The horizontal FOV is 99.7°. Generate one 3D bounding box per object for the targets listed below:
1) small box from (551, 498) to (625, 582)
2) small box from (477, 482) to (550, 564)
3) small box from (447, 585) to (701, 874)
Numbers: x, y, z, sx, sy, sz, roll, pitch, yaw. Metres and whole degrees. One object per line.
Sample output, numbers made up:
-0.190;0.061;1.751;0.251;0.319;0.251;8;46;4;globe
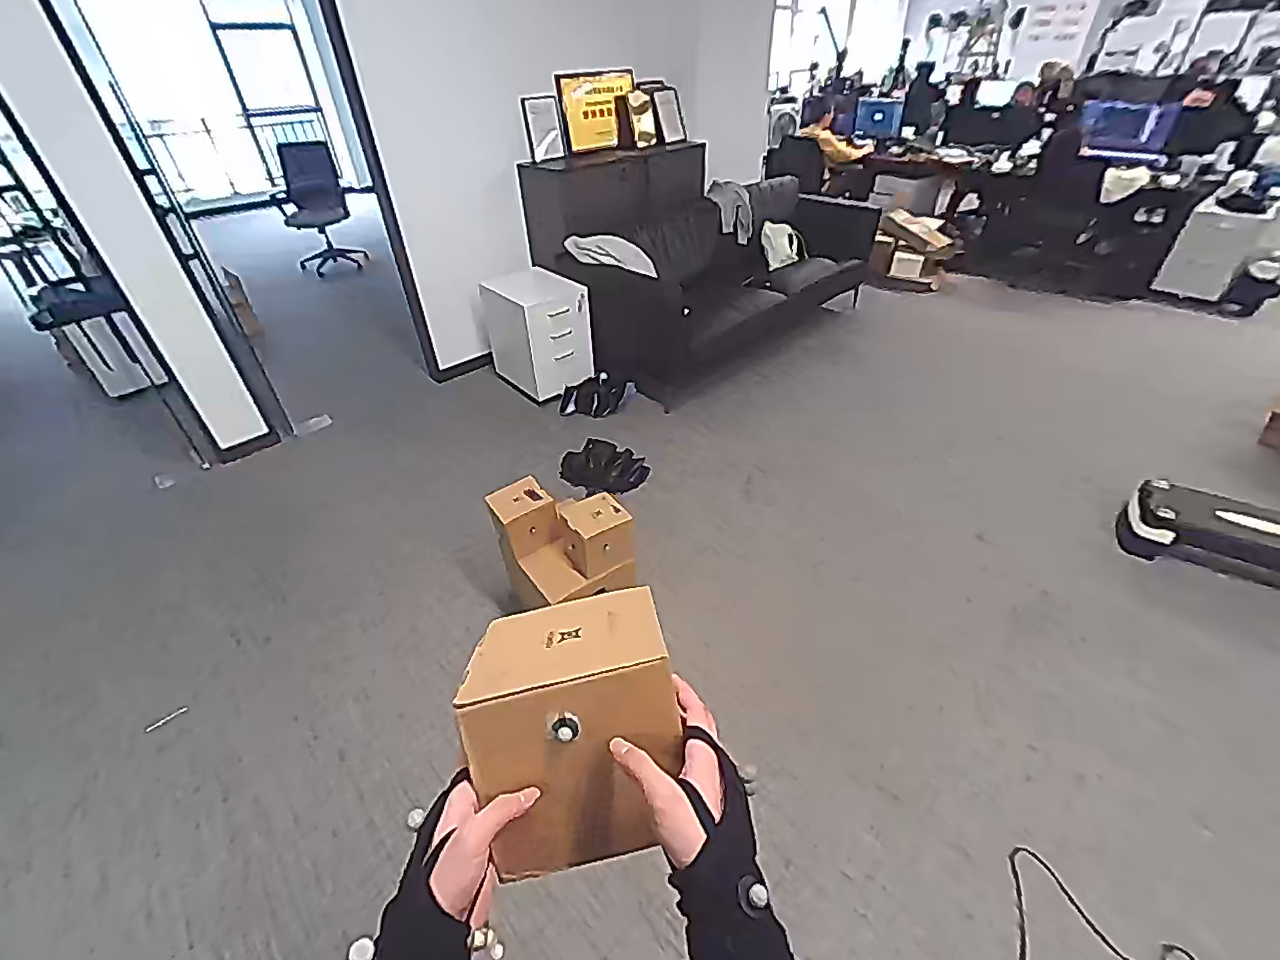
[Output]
-0.159;0.191;1.703;0.179;0.176;0.168;-23;41;-28;small box
-0.407;0.142;1.774;0.179;0.176;0.168;-26;43;-25;small box
-0.054;0.217;0.498;0.179;0.176;0.168;-10;9;-4;small box
